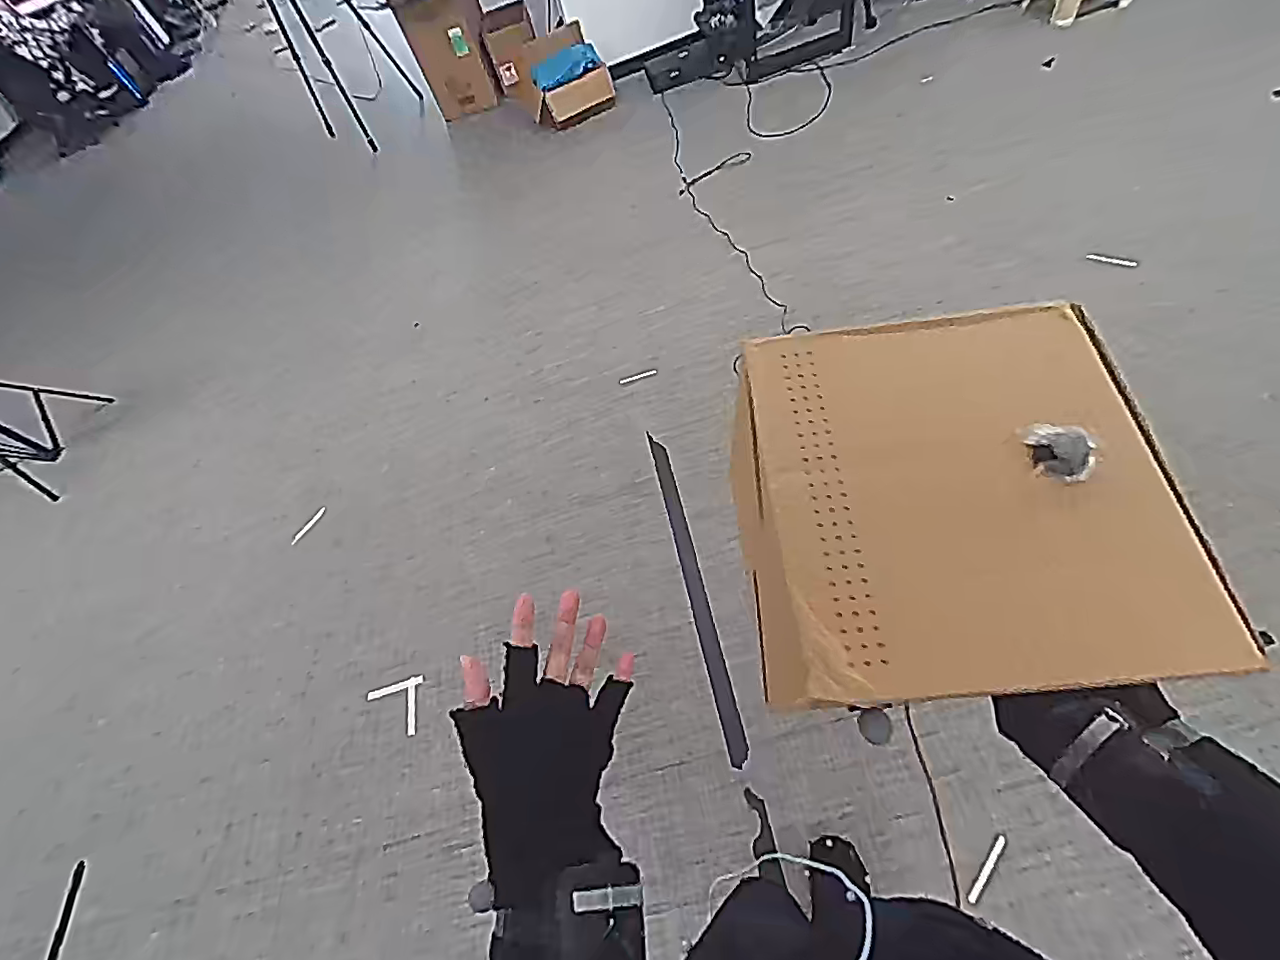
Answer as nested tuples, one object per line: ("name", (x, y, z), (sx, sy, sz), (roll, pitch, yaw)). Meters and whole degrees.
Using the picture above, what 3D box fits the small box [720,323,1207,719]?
("small box", (0.140, 0.037, 0.321), (0.176, 0.168, 0.179), (-7, 65, 5))
